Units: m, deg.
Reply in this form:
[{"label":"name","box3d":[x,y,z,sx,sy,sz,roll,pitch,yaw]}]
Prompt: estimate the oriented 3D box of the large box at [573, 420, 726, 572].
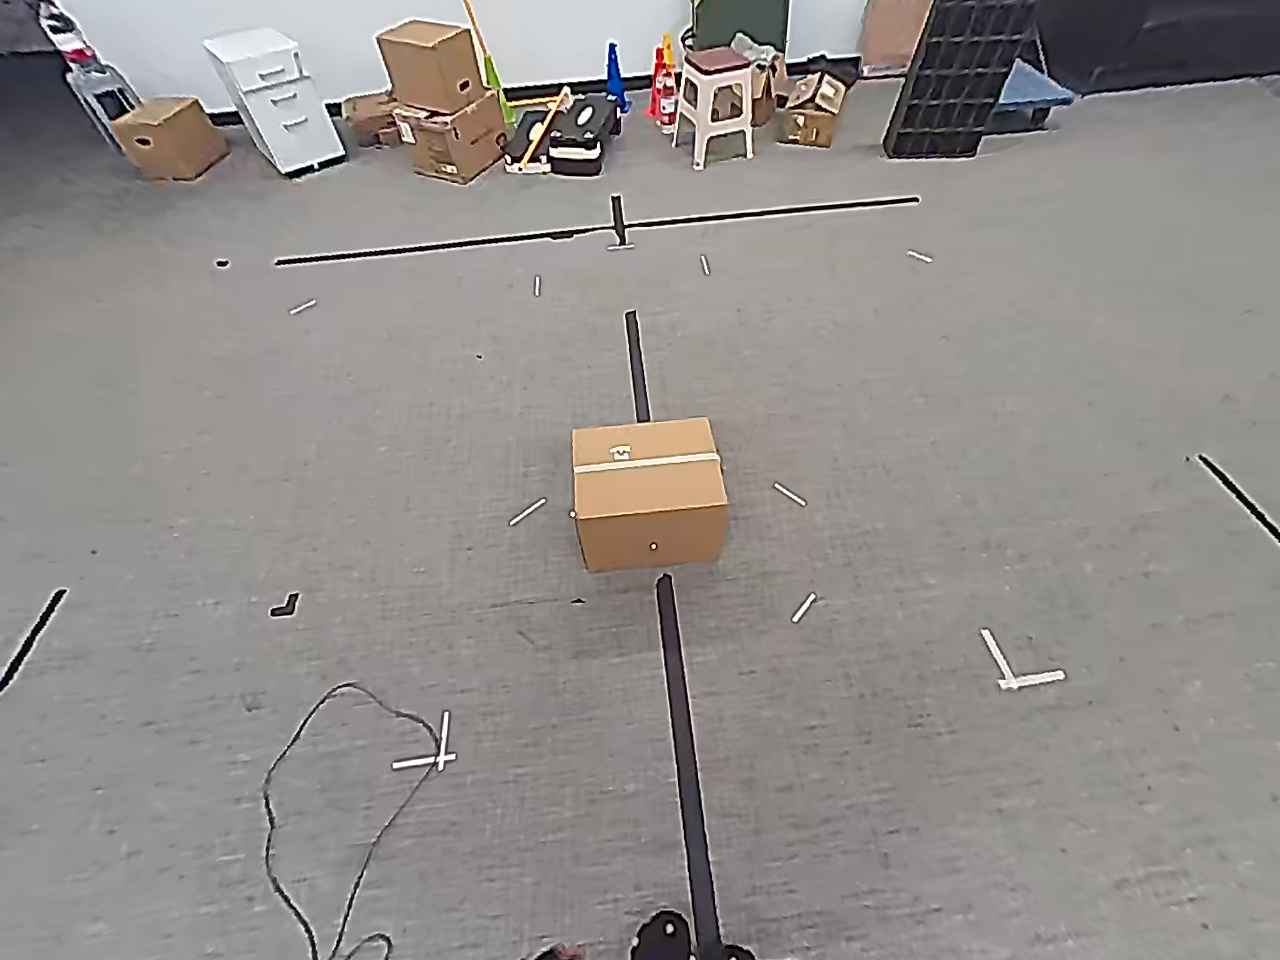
[{"label":"large box","box3d":[0.024,0.054,1.621,0.408,0.320,0.320,-6,53,-1]}]
